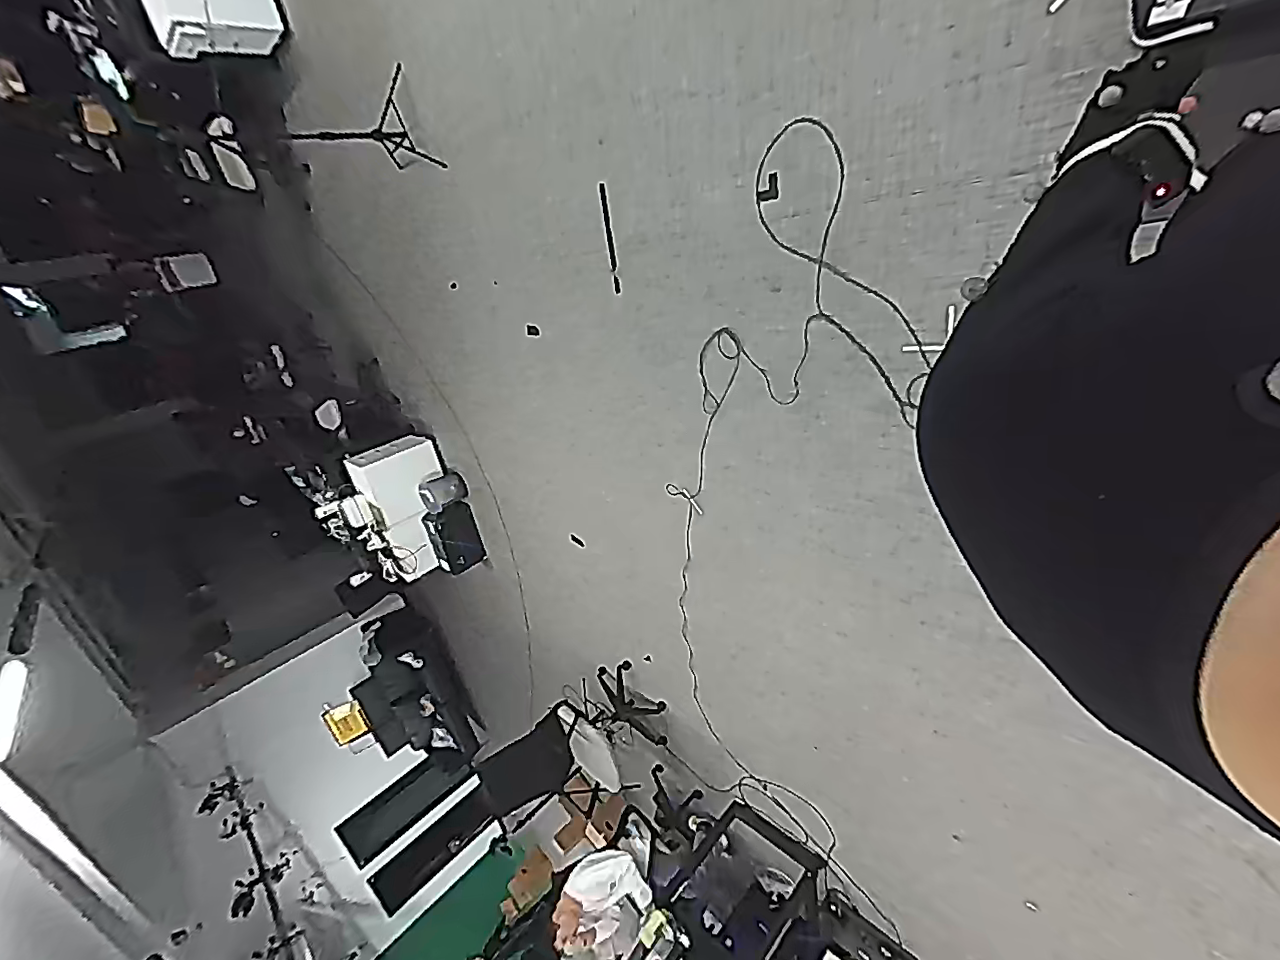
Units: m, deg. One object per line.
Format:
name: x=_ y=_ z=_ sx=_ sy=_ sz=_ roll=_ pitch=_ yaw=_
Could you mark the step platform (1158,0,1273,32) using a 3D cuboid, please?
step platform: x=1.089 y=-0.834 z=0.642 sx=0.684 sy=0.204 sz=0.286 roll=12 pitch=123 yaw=43
